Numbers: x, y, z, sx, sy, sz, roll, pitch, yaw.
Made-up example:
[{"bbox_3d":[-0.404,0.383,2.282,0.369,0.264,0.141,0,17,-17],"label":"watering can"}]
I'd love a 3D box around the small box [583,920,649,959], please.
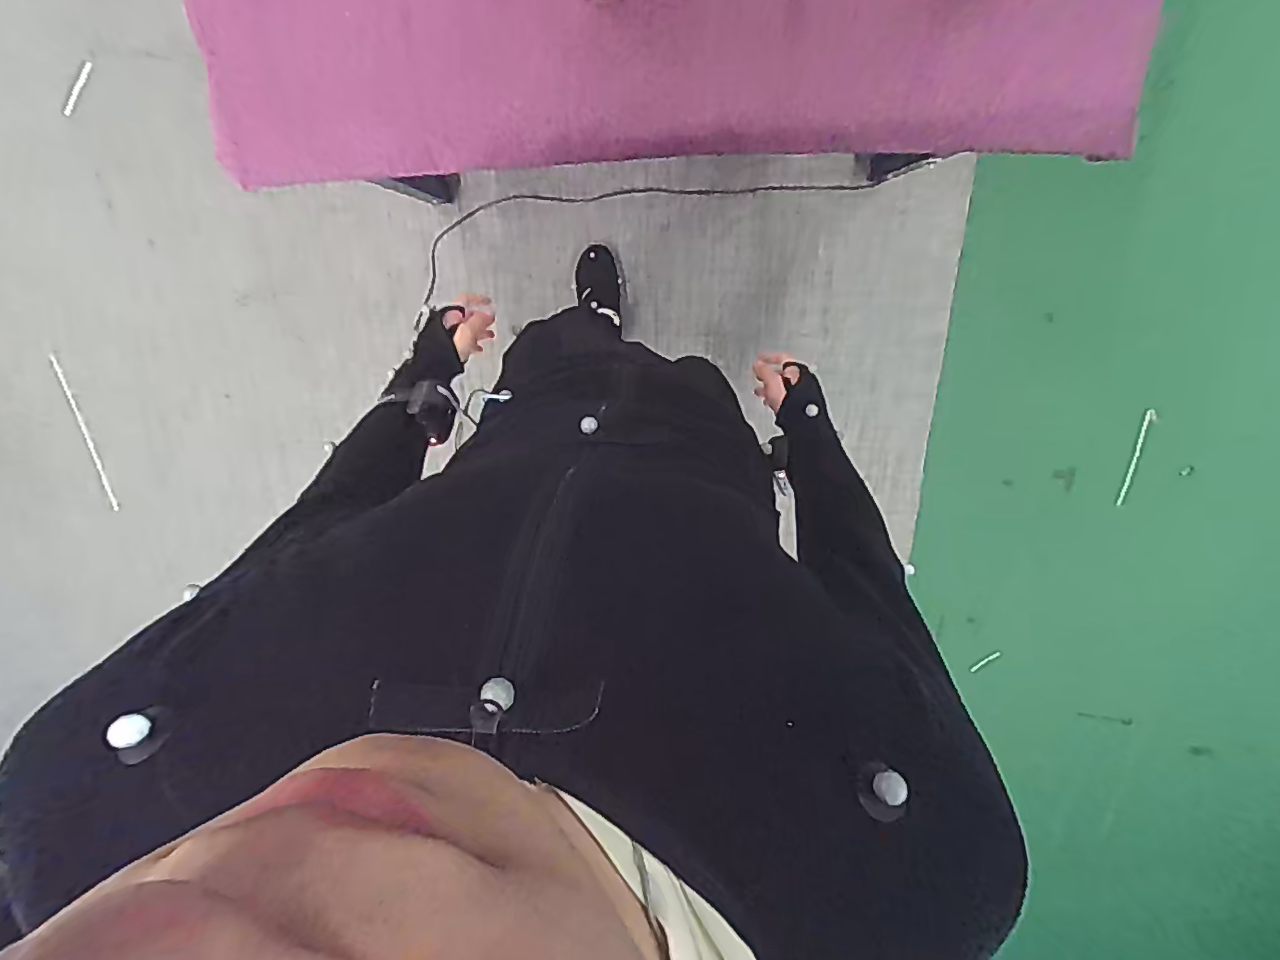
[{"bbox_3d":[-0.065,1.321,1.447,0.179,0.176,0.168,1,109,-1],"label":"small box"}]

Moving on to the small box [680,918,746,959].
[{"bbox_3d":[0.197,1.320,1.449,0.168,0.176,0.179,-1,111,-1],"label":"small box"}]
